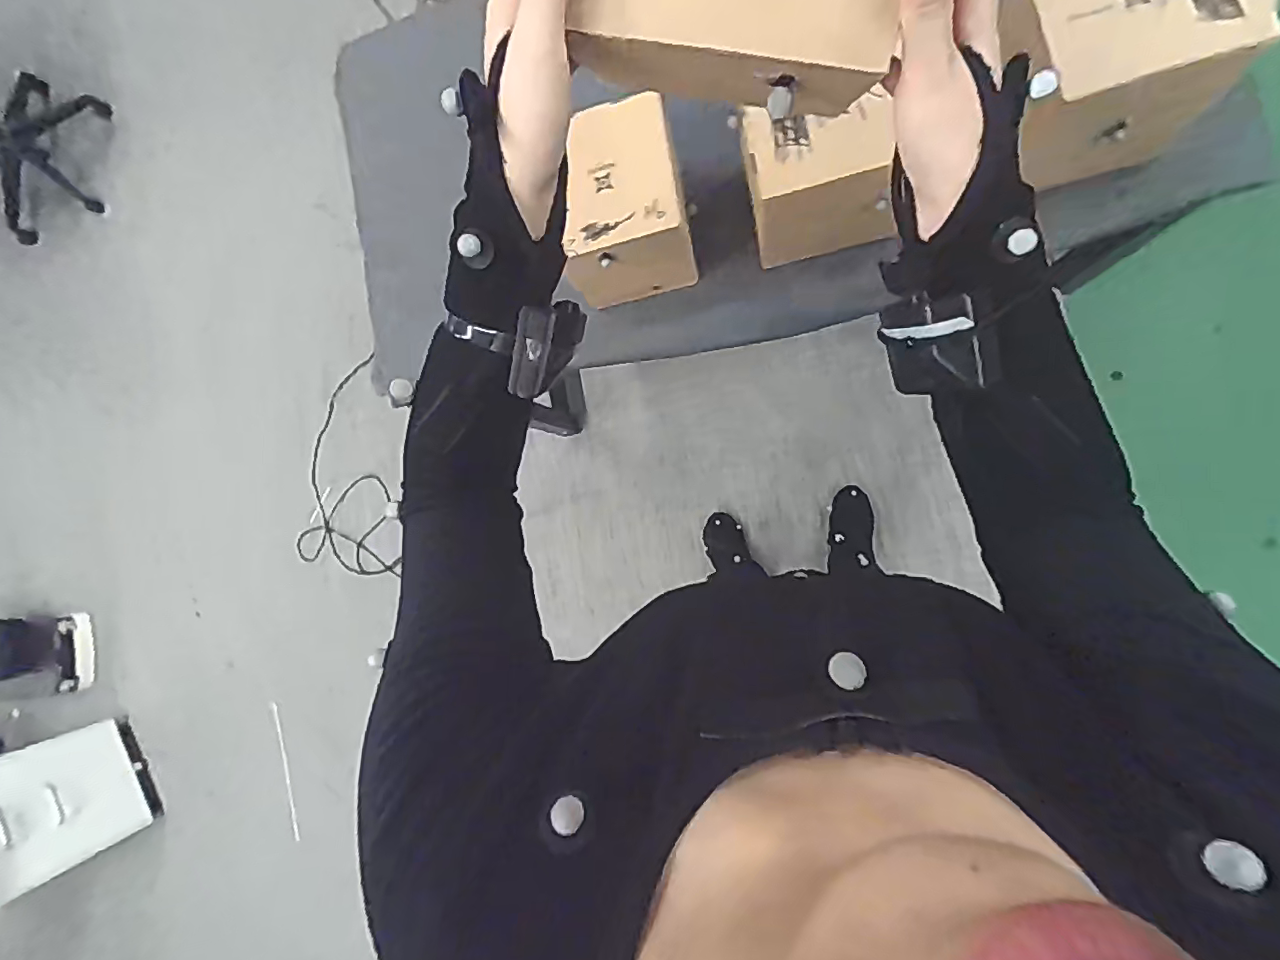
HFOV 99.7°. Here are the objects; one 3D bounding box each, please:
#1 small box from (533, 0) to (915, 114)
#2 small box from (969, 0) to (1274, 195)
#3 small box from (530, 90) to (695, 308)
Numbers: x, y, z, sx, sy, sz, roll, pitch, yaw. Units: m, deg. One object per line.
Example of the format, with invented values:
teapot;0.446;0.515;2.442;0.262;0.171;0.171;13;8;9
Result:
small box;0.058;-0.310;0.287;0.179;0.176;0.168;13;119;6
small box;0.496;-0.452;0.590;0.179;0.176;0.168;-10;82;15
small box;-0.029;-0.357;0.722;0.168;0.176;0.179;-10;84;14
